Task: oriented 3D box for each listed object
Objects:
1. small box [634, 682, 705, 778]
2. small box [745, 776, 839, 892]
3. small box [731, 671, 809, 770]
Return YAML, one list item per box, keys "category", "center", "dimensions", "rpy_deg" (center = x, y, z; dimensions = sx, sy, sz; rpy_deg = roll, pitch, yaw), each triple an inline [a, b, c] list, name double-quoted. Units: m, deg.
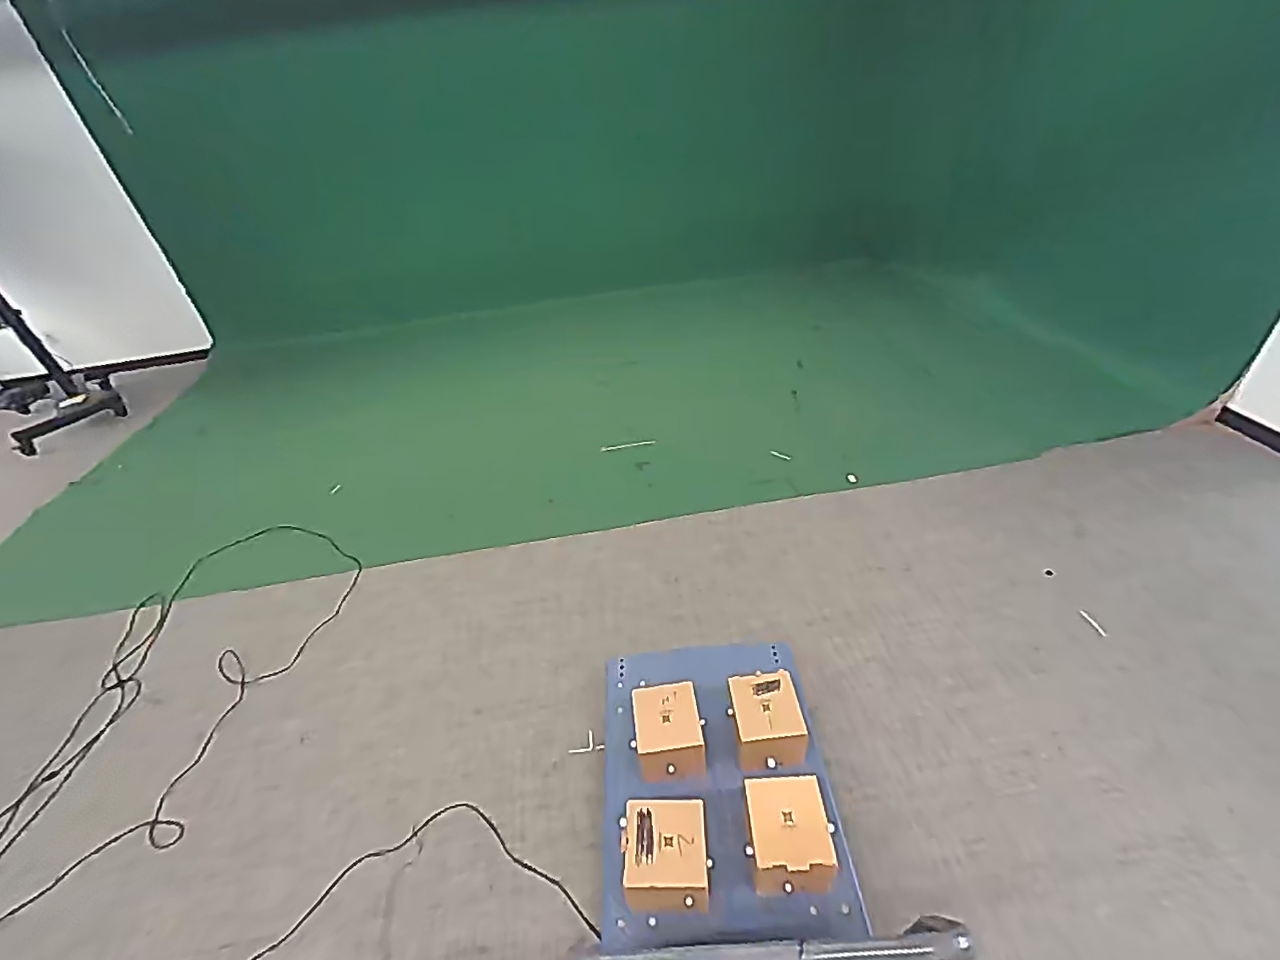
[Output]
- category: "small box"
  center: [0.078, 0.665, 1.429]
  dimensions: [0.168, 0.176, 0.179]
  rpy_deg: [-7, 38, -1]
- category: "small box"
  center: [0.333, 0.798, 1.220]
  dimensions: [0.168, 0.176, 0.179]
  rpy_deg: [-5, 38, 3]
- category: "small box"
  center: [0.334, 0.634, 1.425]
  dimensions: [0.168, 0.176, 0.179]
  rpy_deg: [-7, 39, 1]
